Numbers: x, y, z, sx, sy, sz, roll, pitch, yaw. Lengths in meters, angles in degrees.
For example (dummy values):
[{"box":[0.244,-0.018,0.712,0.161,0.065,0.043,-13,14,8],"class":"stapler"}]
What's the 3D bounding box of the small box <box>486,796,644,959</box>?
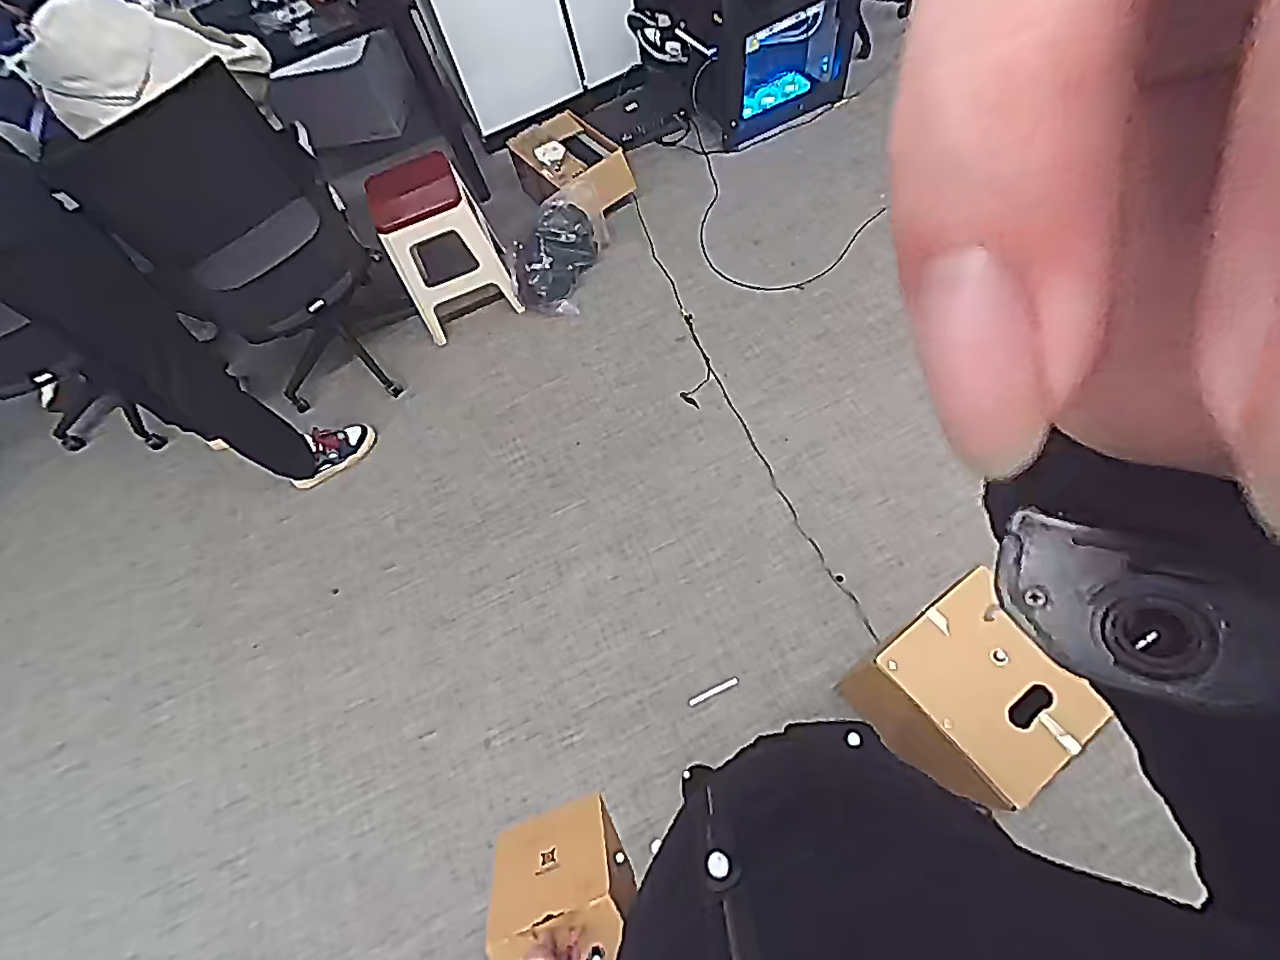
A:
[{"box":[-0.101,0.608,0.767,0.168,0.179,0.176,-20,103,-6],"class":"small box"}]
